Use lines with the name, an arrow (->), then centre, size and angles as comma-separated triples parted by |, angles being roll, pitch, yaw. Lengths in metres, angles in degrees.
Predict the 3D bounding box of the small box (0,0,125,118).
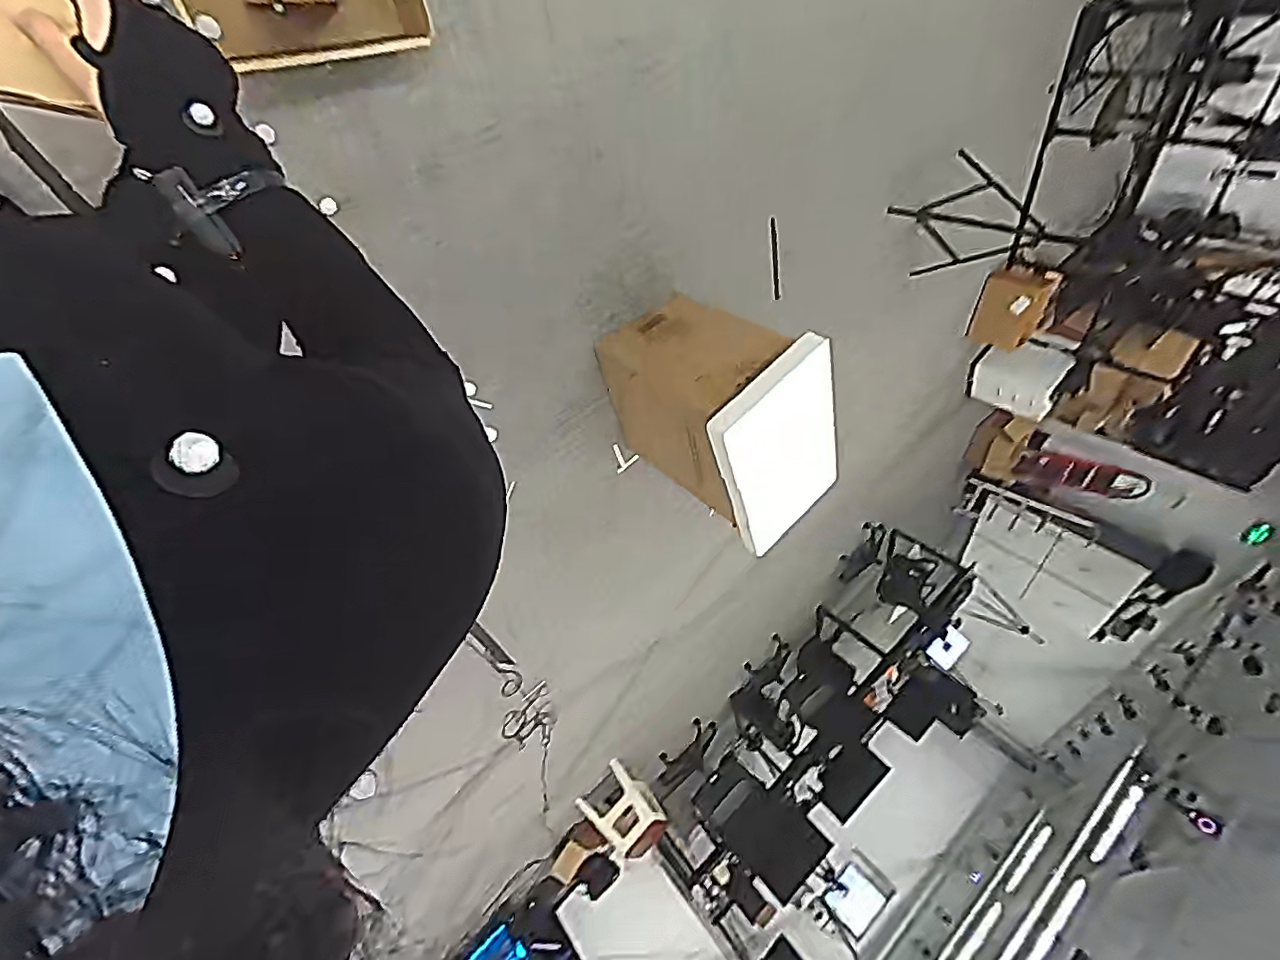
small box -> -0.479, -0.369, 0.365 | 0.168, 0.176, 0.179 | -8, 120, -36
